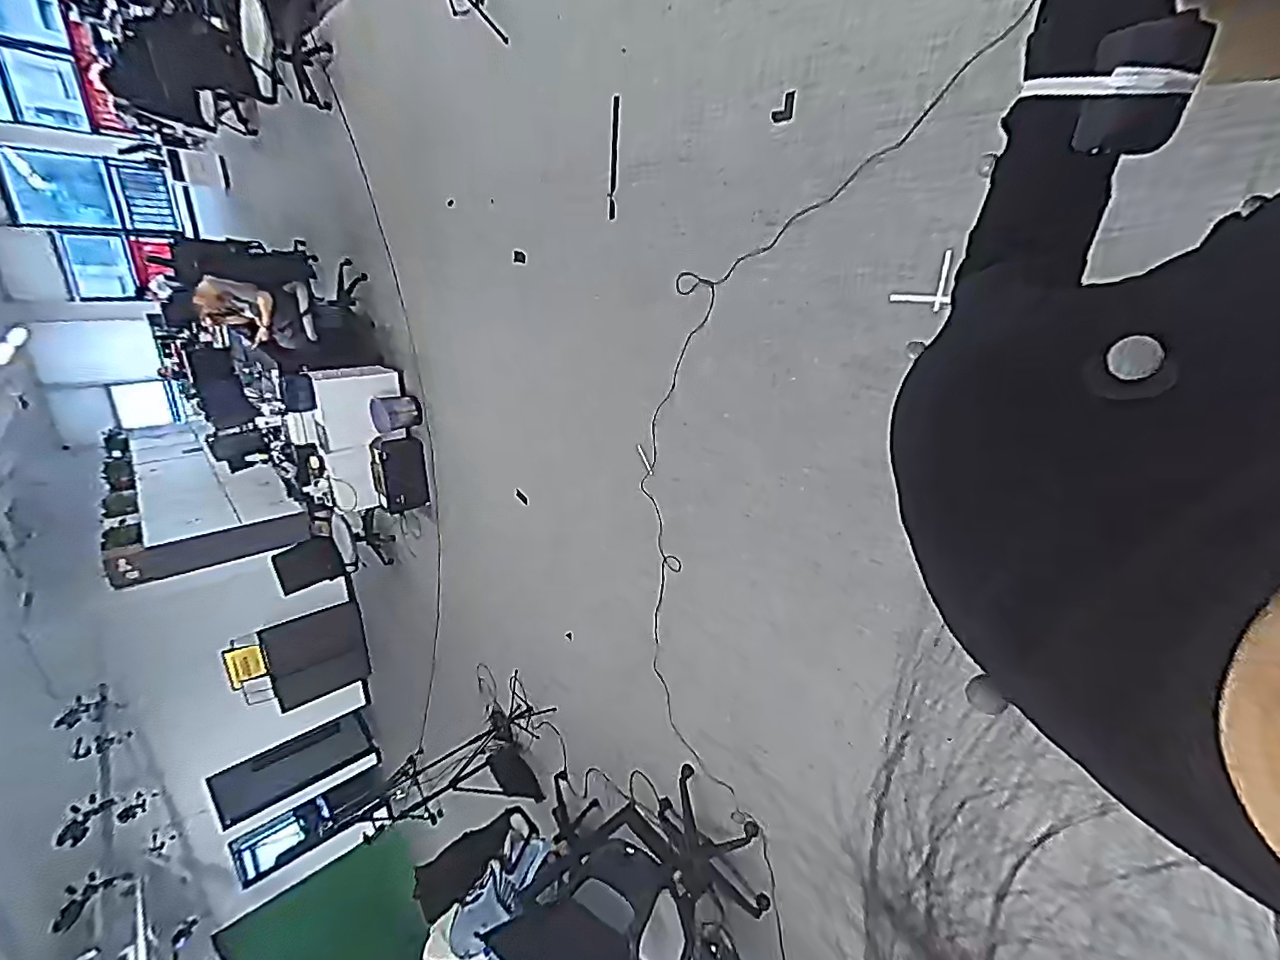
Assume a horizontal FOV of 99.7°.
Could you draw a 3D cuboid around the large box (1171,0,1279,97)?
[{"bbox_3d":[0.543,-0.390,0.214,0.408,0.320,0.320,26,124,40],"label":"large box"}]
